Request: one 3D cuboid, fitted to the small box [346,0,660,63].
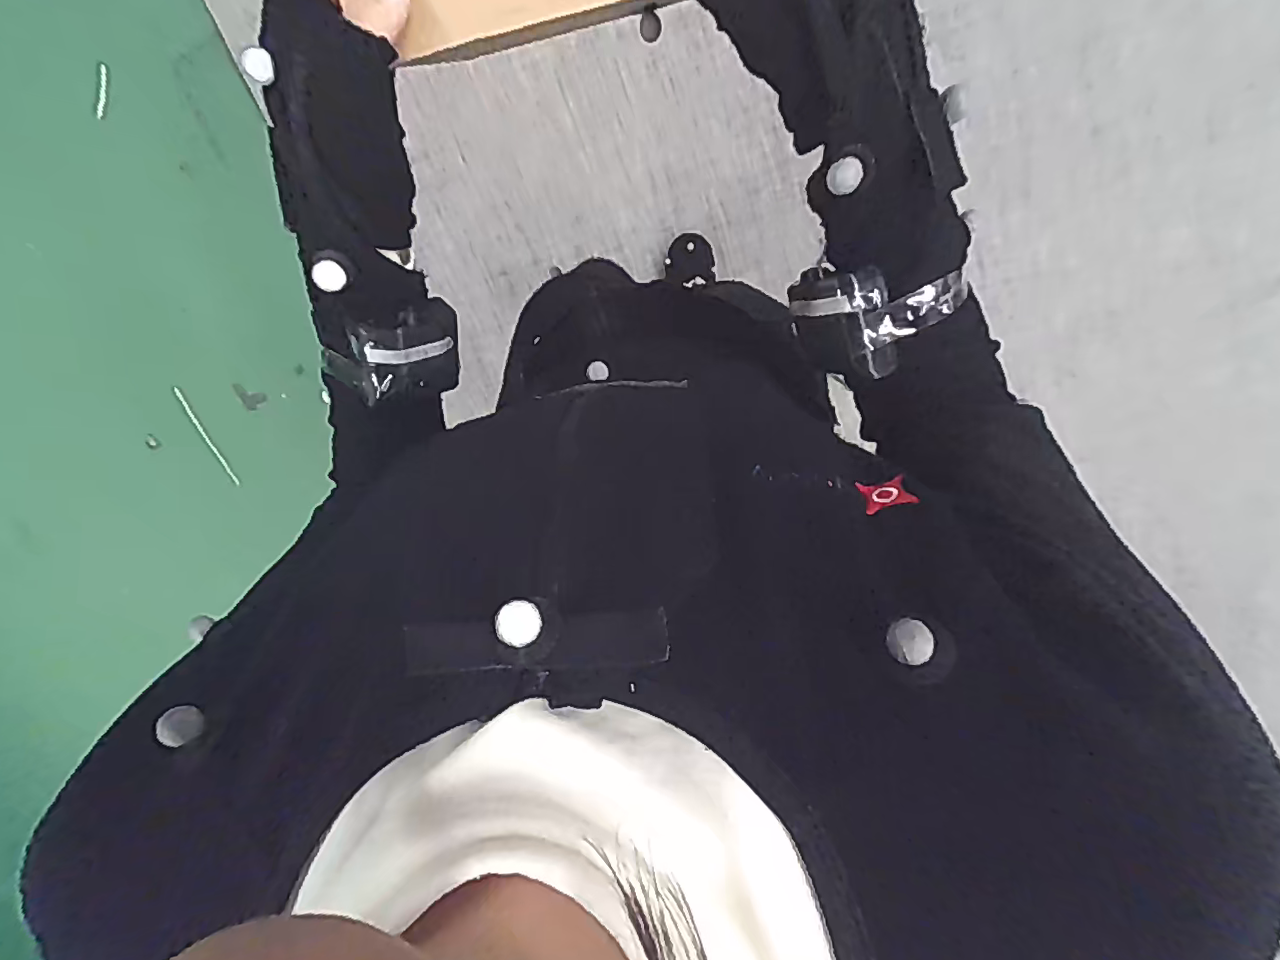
[{"bbox_3d":[-0.056,-0.320,0.251,0.179,0.176,0.168,-8,128,11],"label":"small box"}]
